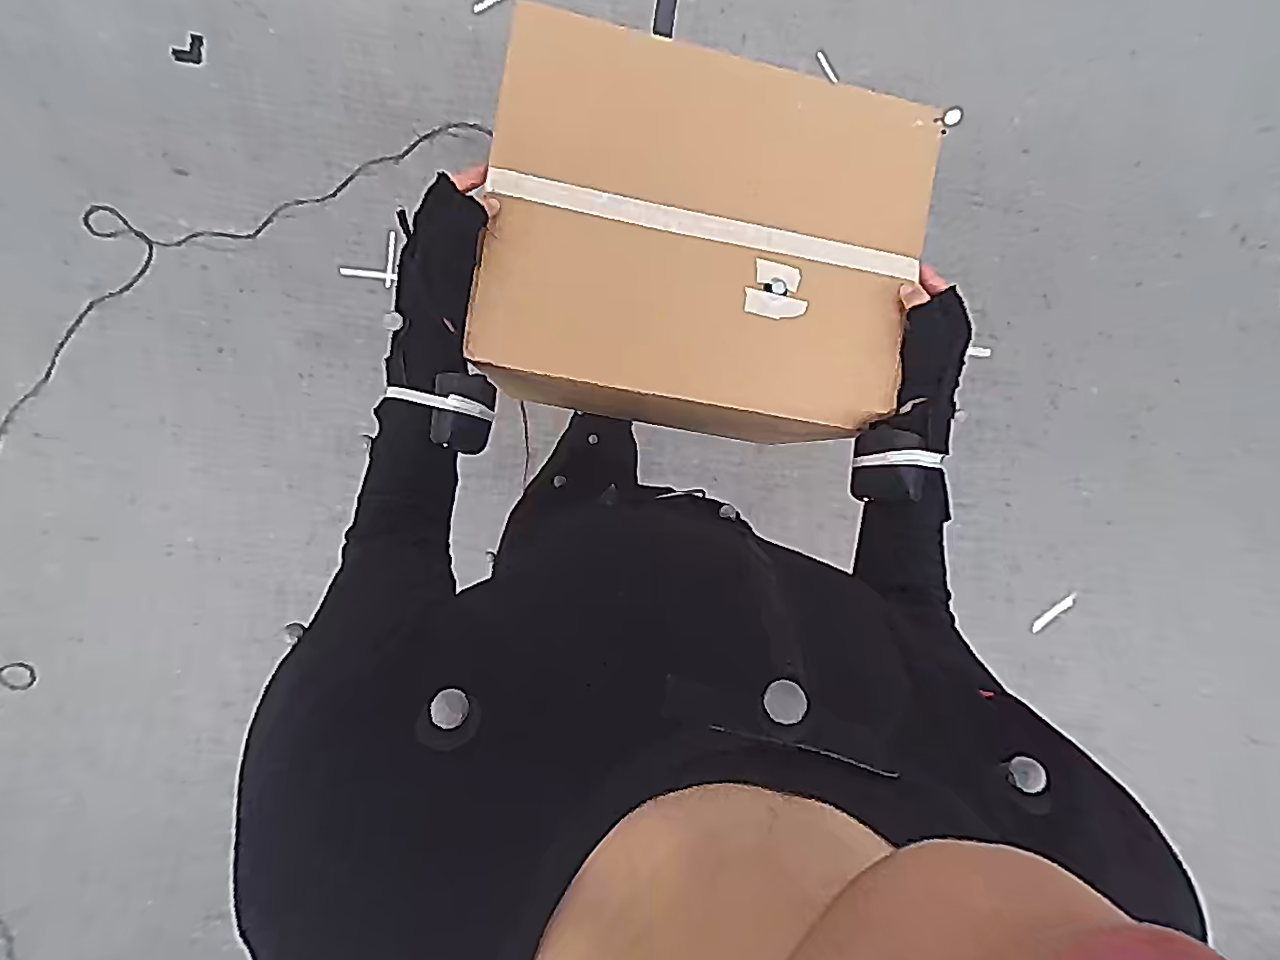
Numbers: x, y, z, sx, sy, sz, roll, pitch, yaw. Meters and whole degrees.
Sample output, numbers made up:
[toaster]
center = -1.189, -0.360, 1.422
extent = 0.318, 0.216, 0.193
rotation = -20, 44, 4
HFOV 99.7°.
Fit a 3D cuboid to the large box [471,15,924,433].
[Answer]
[large box]
center = 0.042, -0.241, 0.652
extent = 0.408, 0.320, 0.320
rotation = 9, 93, -8
